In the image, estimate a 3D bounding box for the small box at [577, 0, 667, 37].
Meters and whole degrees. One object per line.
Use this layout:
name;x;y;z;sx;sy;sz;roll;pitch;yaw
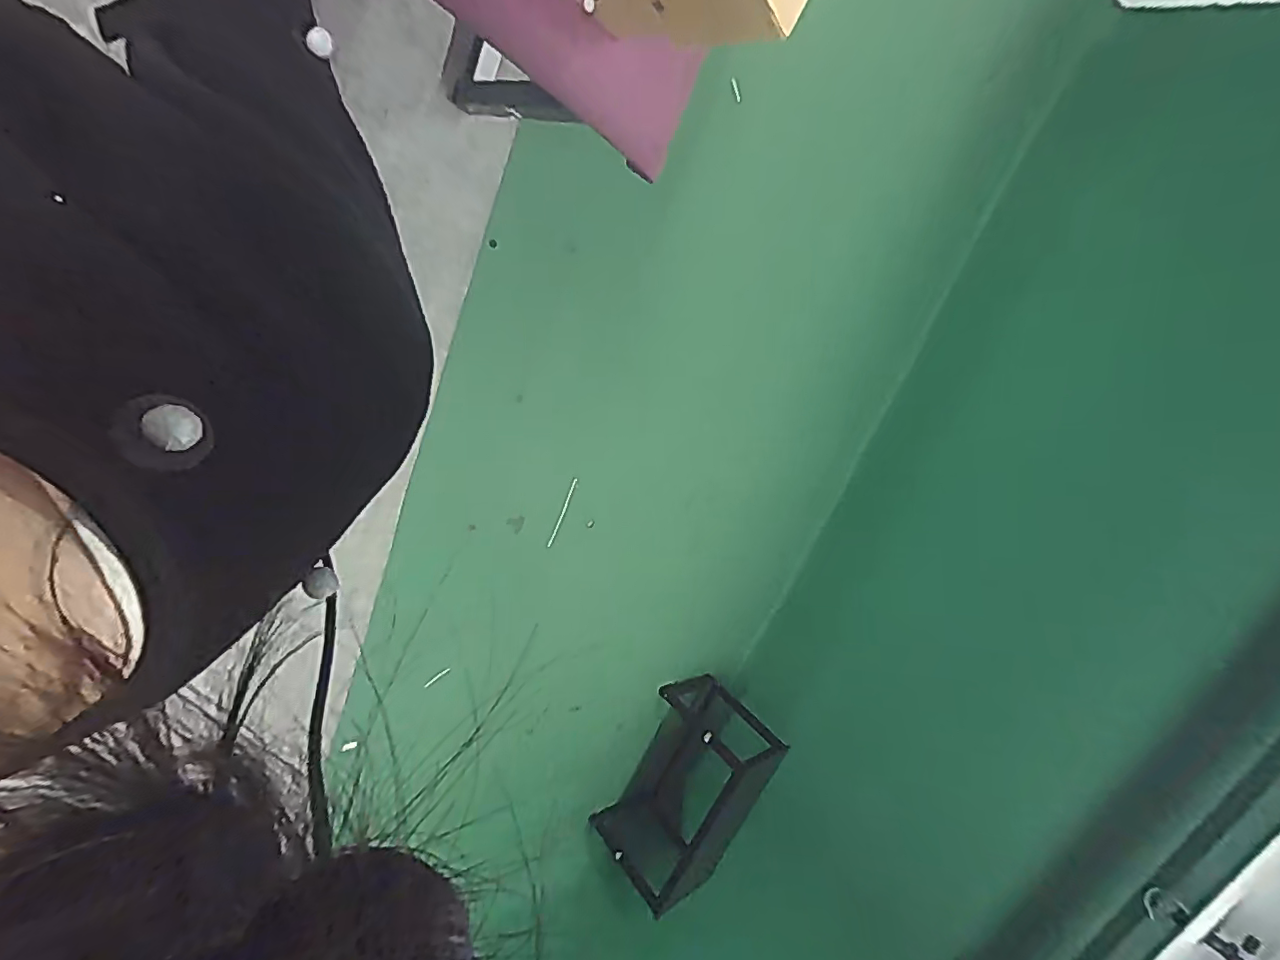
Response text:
small box;-0.002;-0.650;0.617;0.179;0.176;0.168;7;110;-46

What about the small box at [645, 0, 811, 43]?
small box;0.086;-0.561;0.507;0.168;0.176;0.179;18;103;-49
